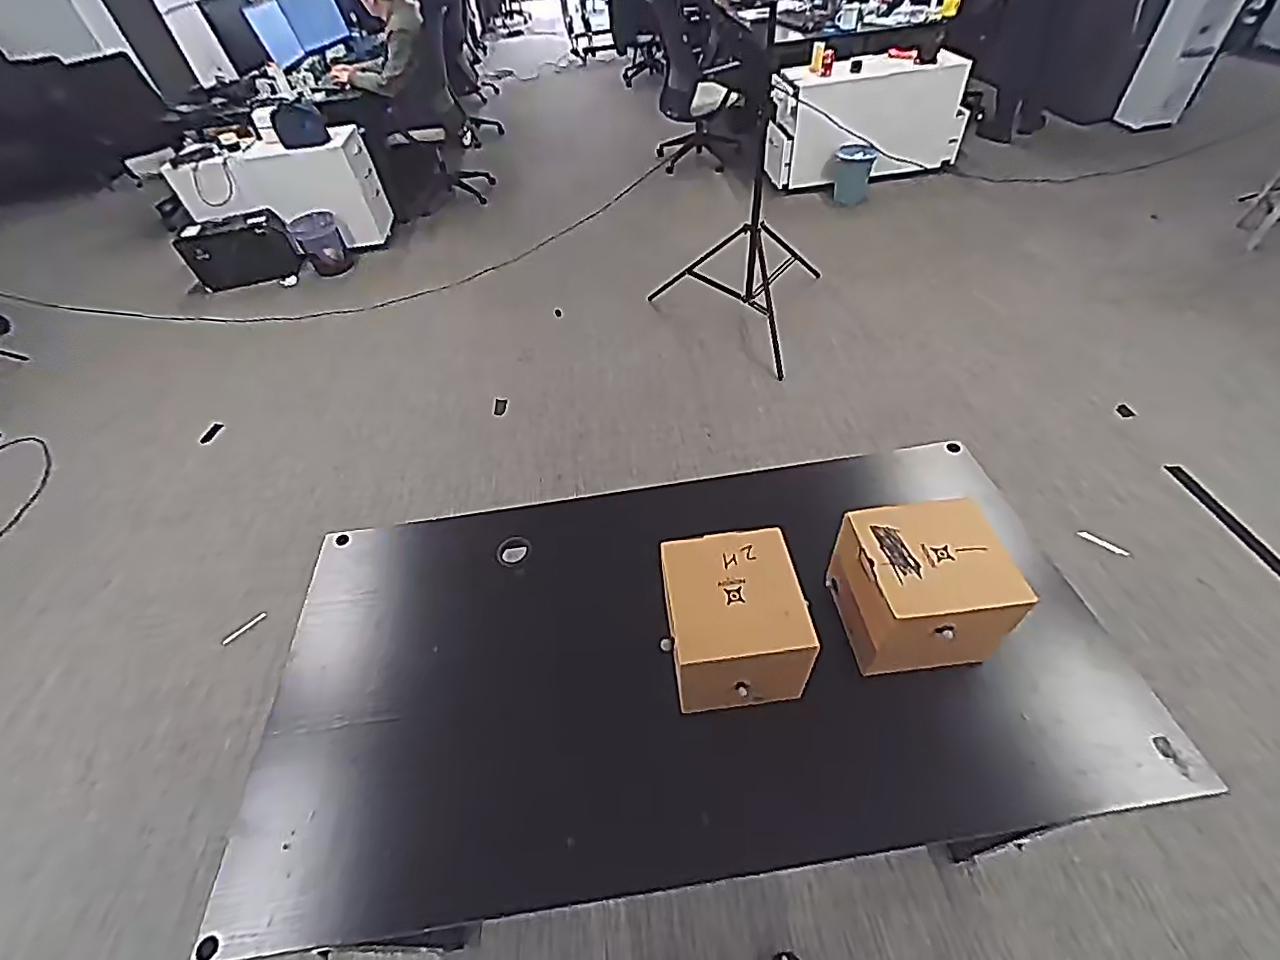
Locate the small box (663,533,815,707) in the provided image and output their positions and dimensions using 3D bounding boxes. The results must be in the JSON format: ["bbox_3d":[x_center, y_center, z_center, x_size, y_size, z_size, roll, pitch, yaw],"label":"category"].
[{"bbox_3d":[0.126,0.199,0.748,0.168,0.176,0.179,-7,48,0],"label":"small box"}]

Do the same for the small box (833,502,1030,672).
[{"bbox_3d":[0.384,0.154,0.758,0.179,0.176,0.168,-7,48,0],"label":"small box"}]
